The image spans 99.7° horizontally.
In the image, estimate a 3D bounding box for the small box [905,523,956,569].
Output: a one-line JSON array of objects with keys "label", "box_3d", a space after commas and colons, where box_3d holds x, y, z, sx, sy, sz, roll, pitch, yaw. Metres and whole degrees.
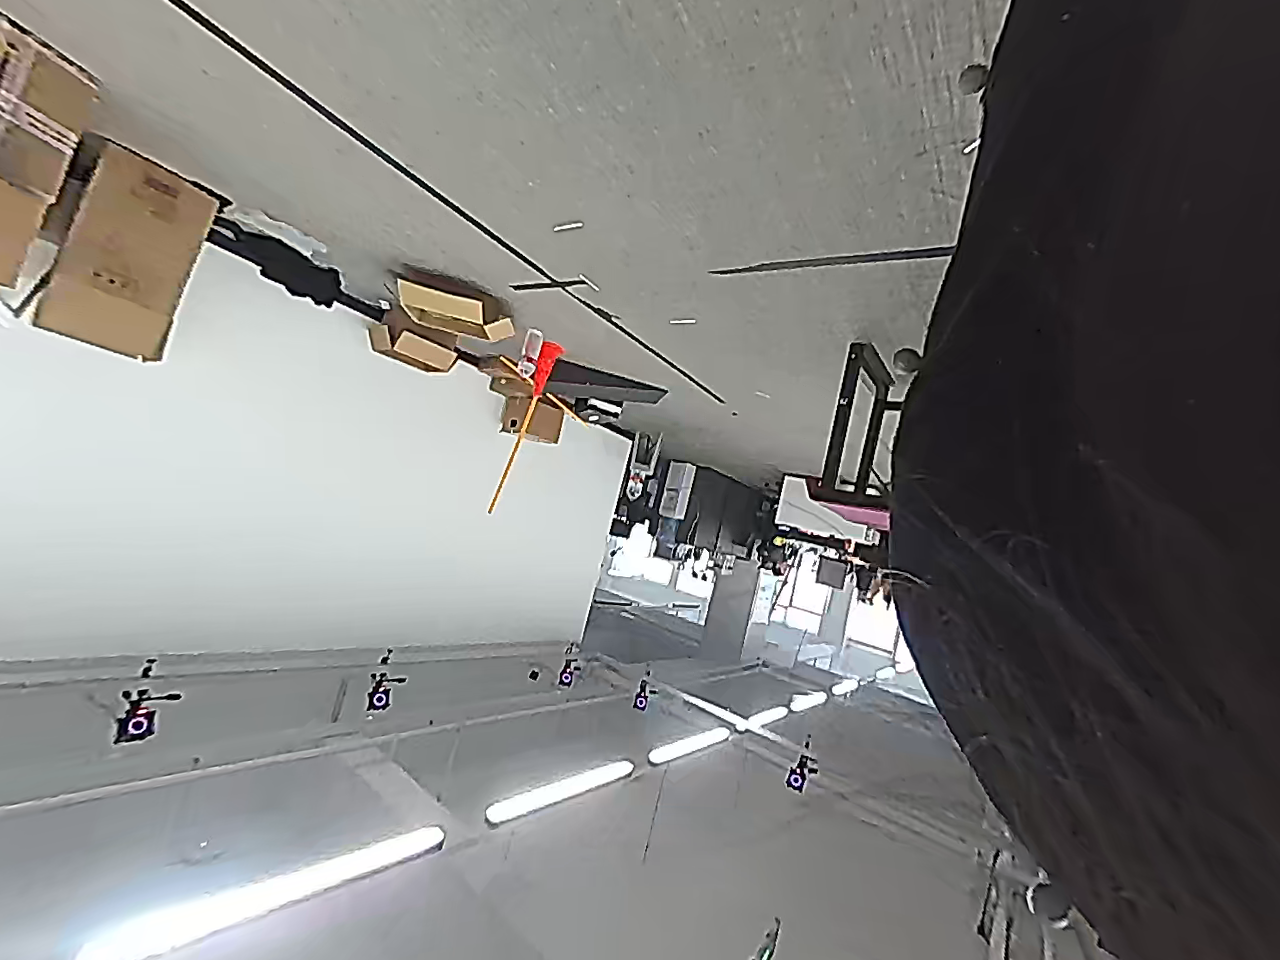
[{"label": "small box", "box_3d": [1.321, 0.297, 2.451, 0.179, 0.176, 0.168, 10, 174, 33]}]

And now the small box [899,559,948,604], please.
[{"label": "small box", "box_3d": [1.283, 0.456, 2.438, 0.179, 0.176, 0.168, 10, 173, 32]}]
